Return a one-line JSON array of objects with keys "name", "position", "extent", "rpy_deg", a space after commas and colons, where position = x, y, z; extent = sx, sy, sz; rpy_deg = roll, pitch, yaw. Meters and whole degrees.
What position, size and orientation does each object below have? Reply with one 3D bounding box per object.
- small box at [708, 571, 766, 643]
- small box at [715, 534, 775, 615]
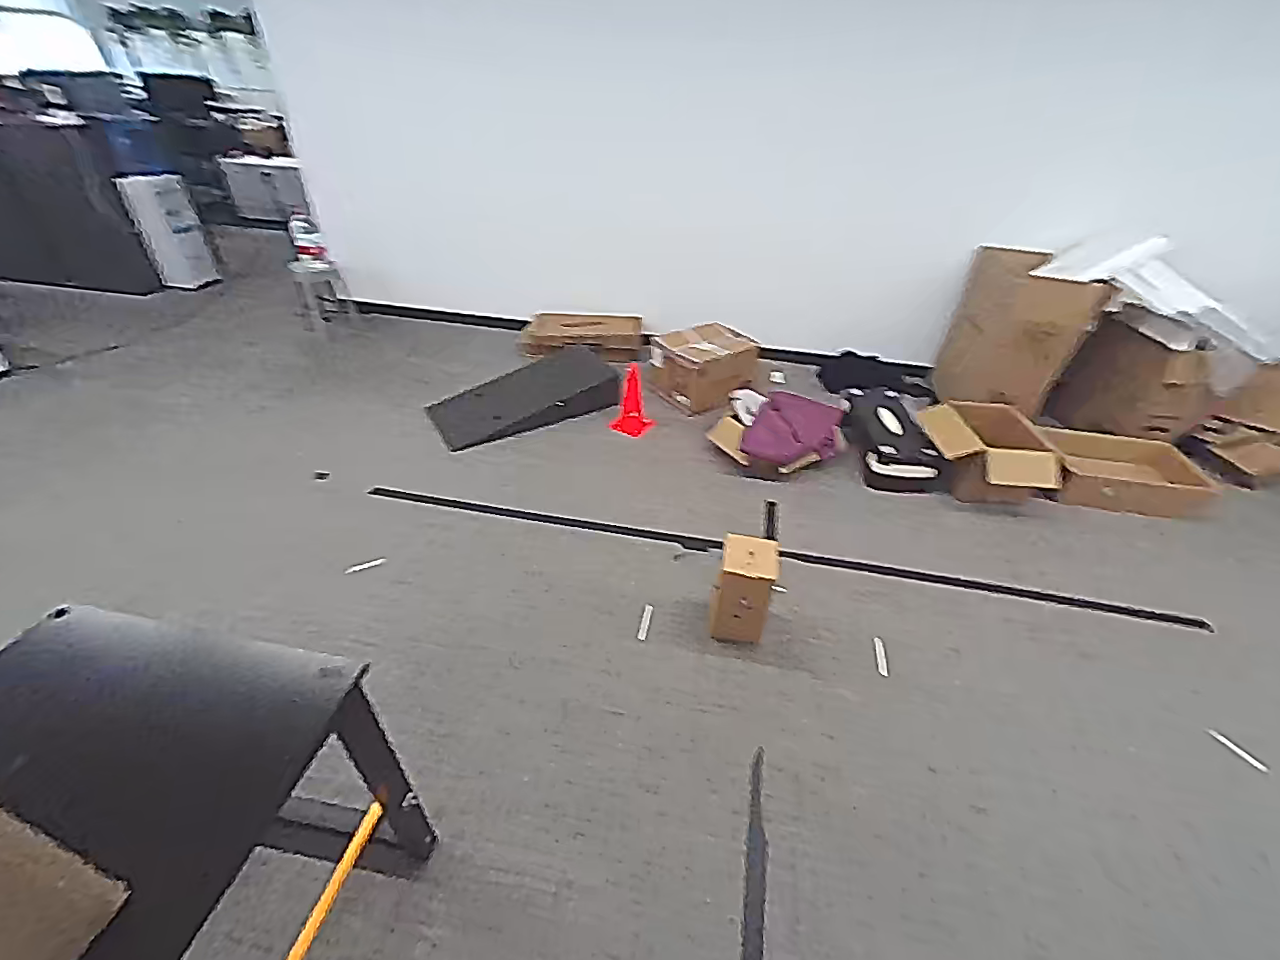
[{"name": "small box", "position": [0.328, 0.438, 1.854], "extent": [0.179, 0.176, 0.168], "rpy_deg": [7, 37, 4]}, {"name": "small box", "position": [0.340, 0.306, 1.755], "extent": [0.168, 0.176, 0.179], "rpy_deg": [8, 38, 8]}]
